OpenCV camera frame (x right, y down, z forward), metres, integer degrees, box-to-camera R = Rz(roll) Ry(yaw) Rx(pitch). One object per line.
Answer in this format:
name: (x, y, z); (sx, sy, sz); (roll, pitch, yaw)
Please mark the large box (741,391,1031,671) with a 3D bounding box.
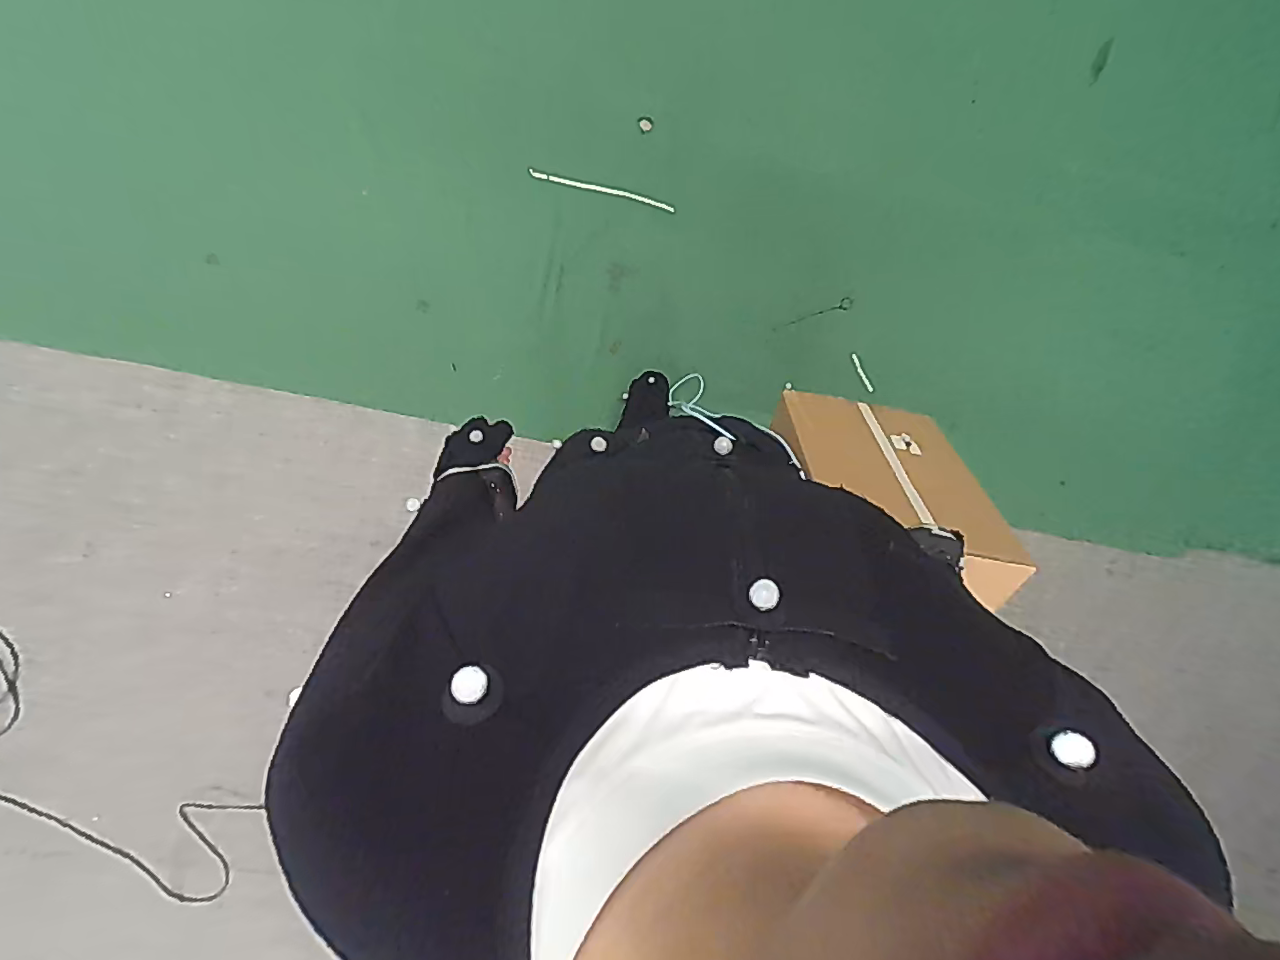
large box: (0.396, 0.086, 1.007); (0.320, 0.408, 0.320); (10, 128, -5)
